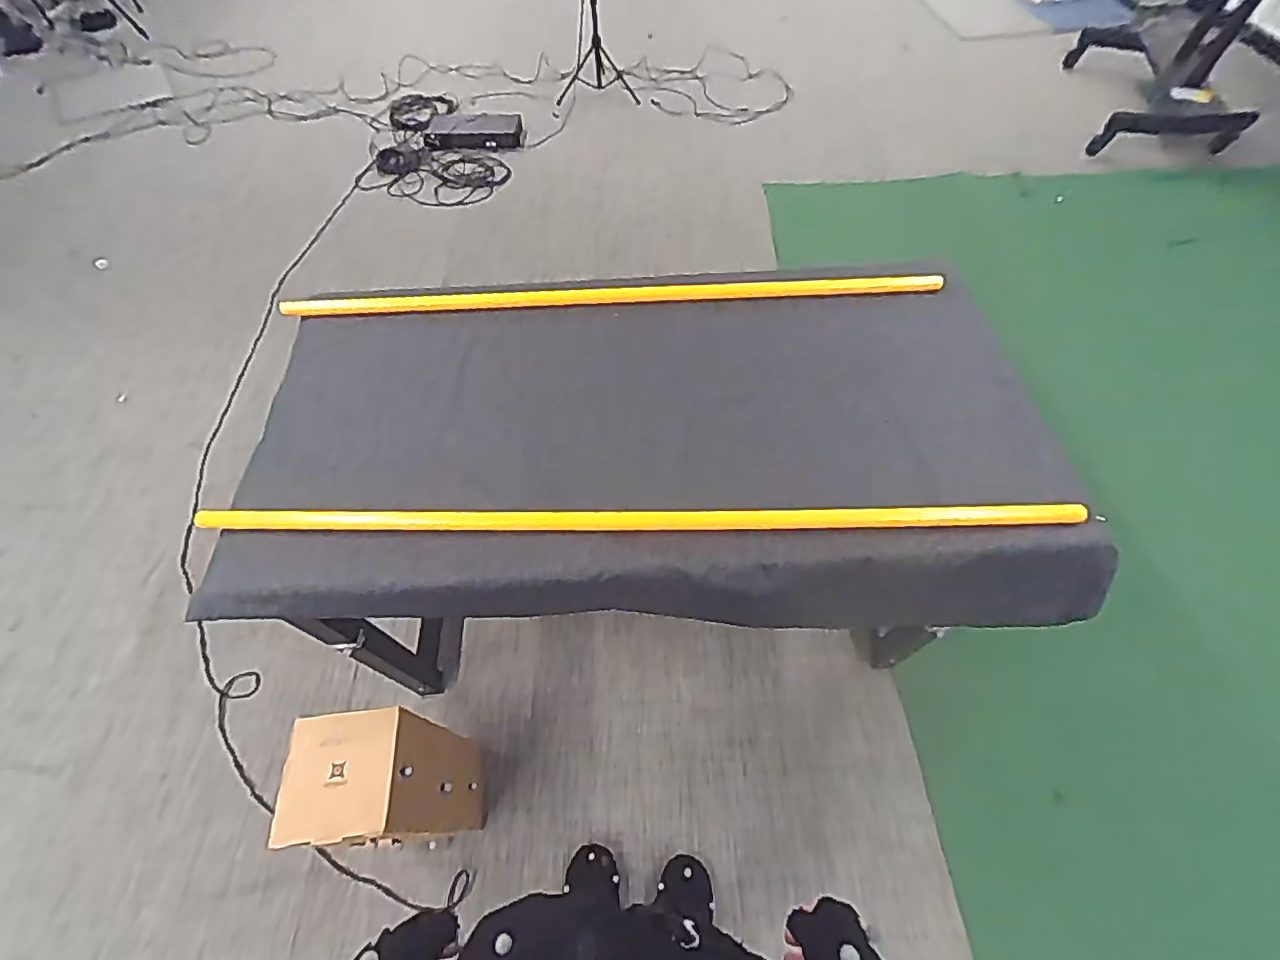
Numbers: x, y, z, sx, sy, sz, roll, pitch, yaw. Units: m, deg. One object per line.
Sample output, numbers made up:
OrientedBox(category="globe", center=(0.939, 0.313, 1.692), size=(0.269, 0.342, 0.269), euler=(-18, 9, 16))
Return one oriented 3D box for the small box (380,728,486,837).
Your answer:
OrientedBox(category="small box", center=(-0.434, 0.651, 1.161), size=(0.168, 0.176, 0.179), euler=(-9, 59, -4))
